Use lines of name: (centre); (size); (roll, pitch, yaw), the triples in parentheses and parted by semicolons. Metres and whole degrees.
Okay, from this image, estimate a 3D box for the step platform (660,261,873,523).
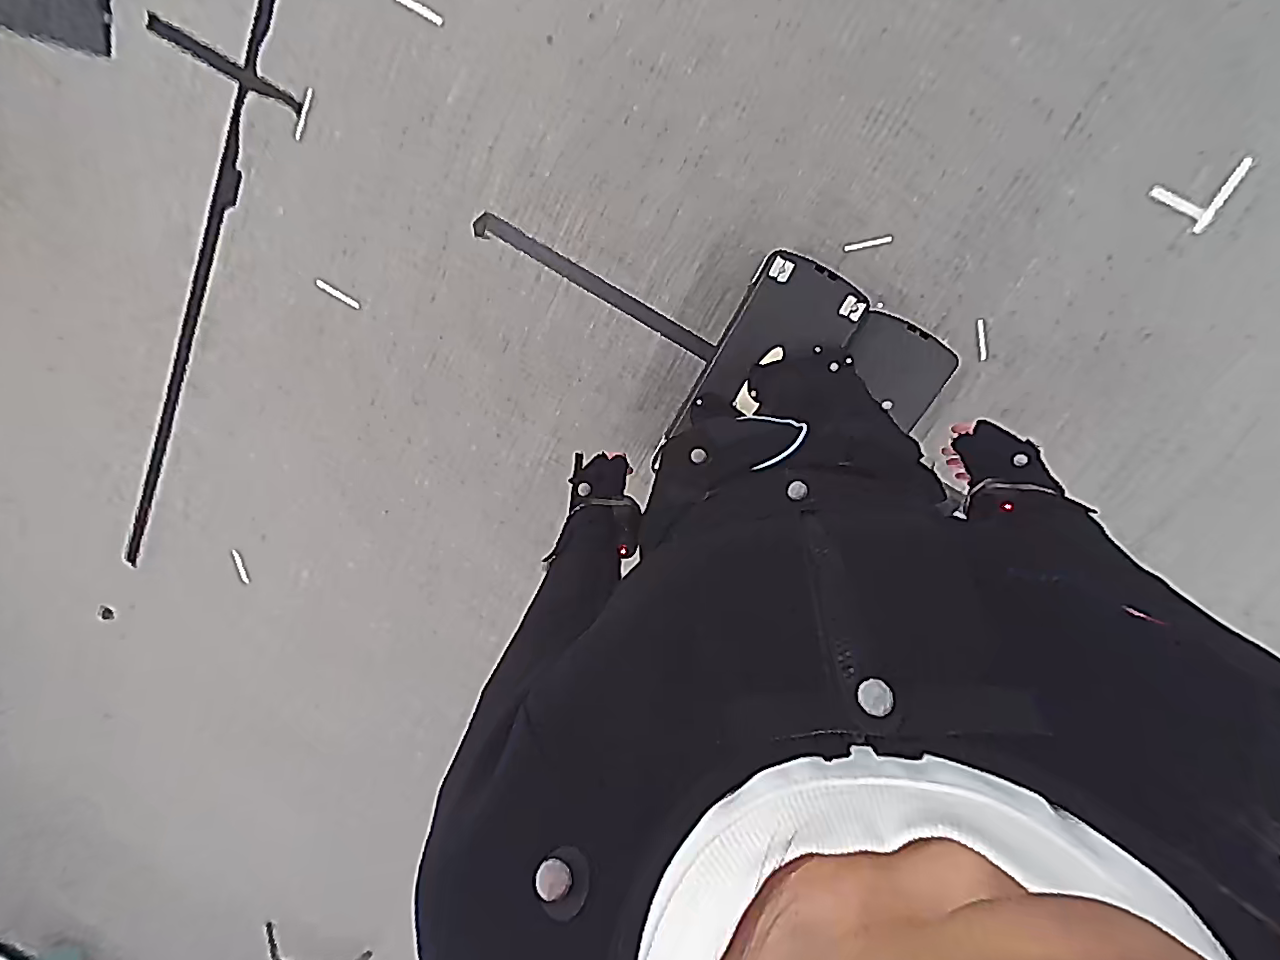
step platform: (0.323, -0.224, 1.469); (0.286, 0.204, 0.684); (29, 106, 0)
